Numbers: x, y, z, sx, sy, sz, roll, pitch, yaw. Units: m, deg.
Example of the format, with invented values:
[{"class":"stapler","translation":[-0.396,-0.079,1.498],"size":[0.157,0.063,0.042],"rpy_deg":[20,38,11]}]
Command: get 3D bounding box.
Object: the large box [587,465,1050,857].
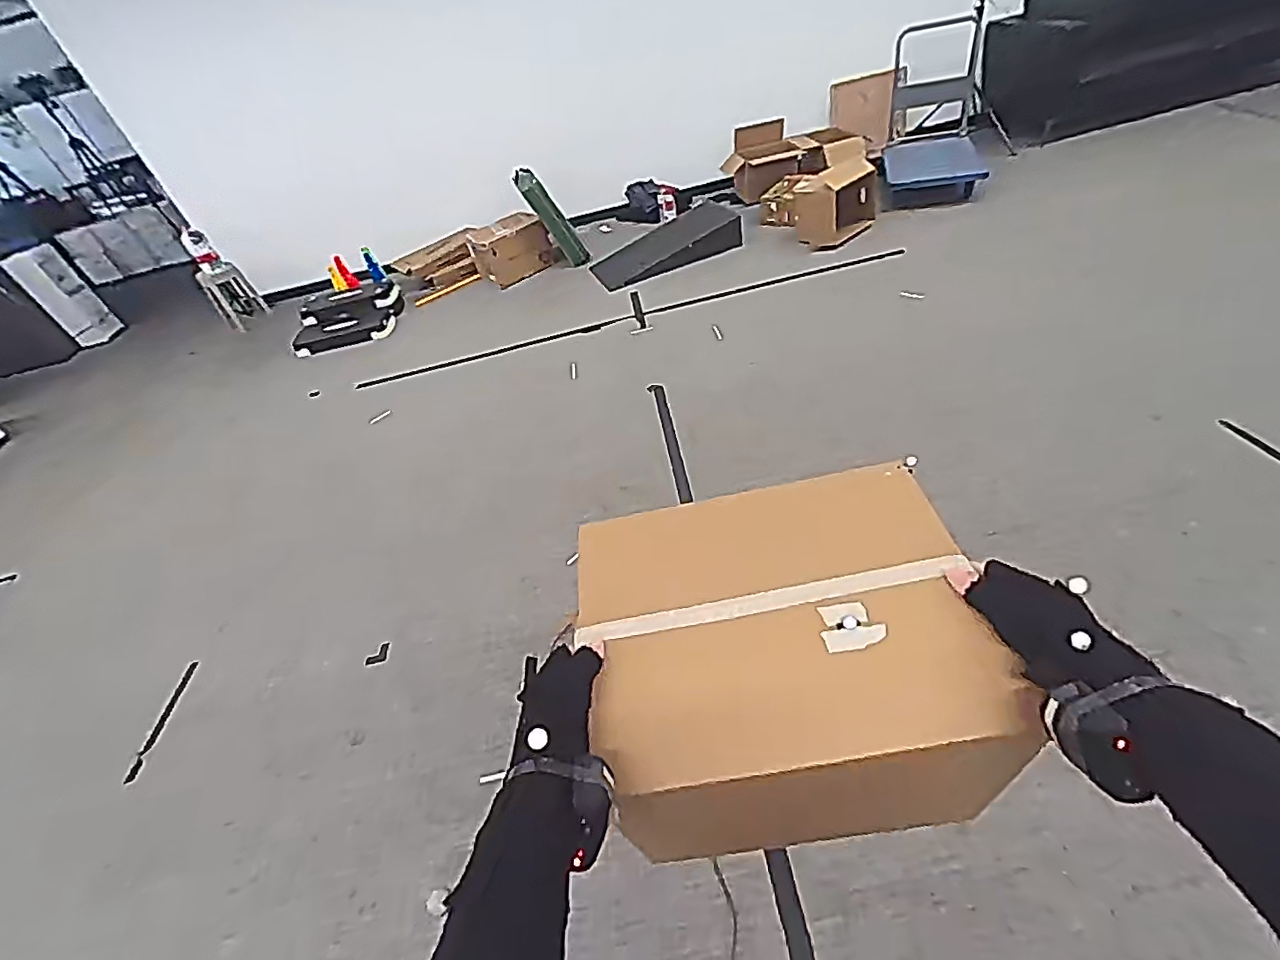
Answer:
[{"class":"large box","translation":[0.168,0.230,0.675],"size":[0.408,0.320,0.320],"rpy_deg":[-12,45,4]}]
